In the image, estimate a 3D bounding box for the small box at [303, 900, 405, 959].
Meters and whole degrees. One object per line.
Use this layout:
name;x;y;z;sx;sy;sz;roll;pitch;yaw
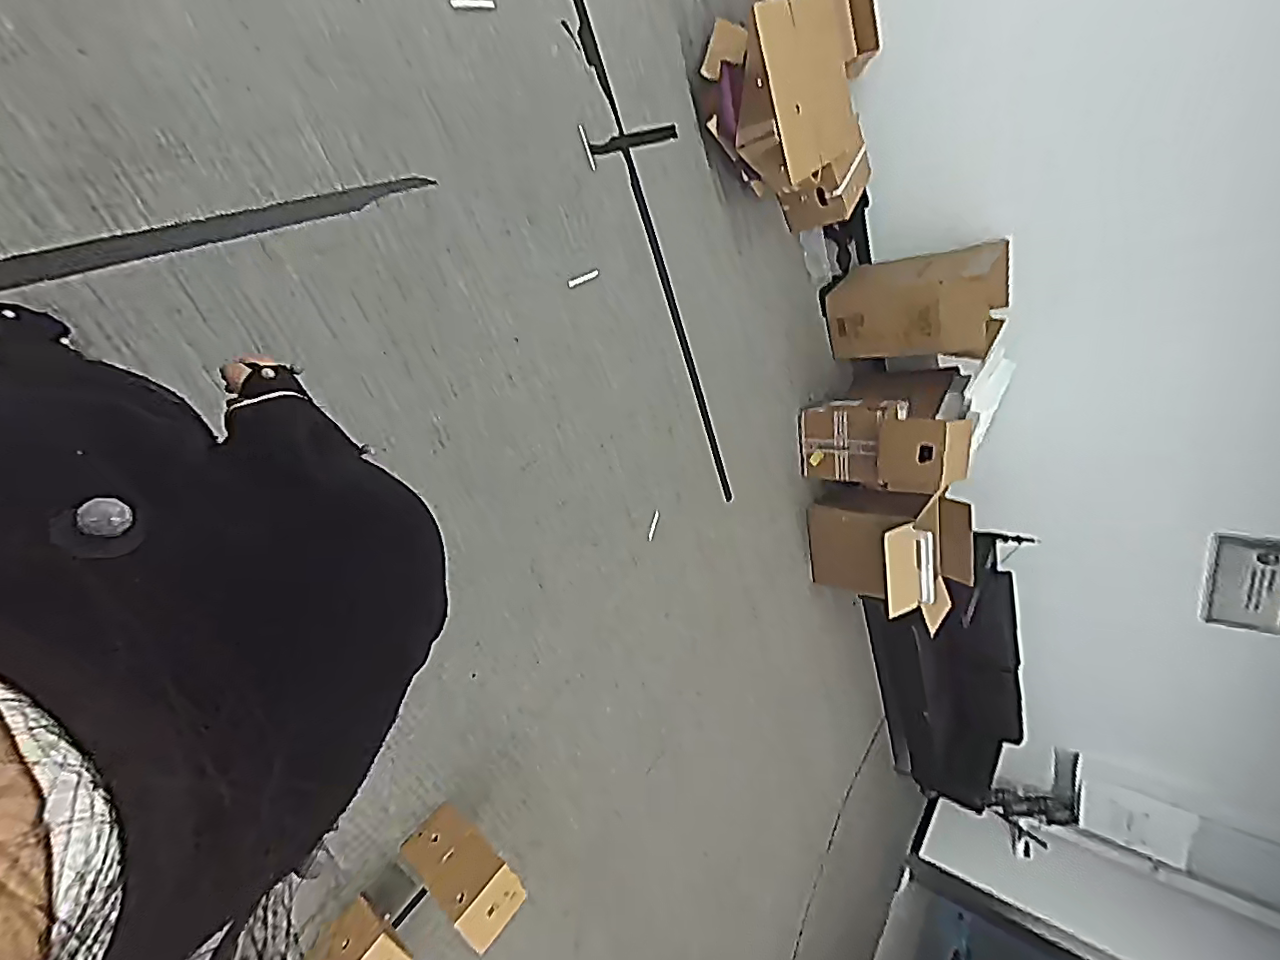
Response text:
small box;-0.766;1.287;1.440;0.179;0.176;0.168;-41;122;-37

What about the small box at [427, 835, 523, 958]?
small box;-0.464;1.147;1.501;0.179;0.176;0.168;-40;122;-37
